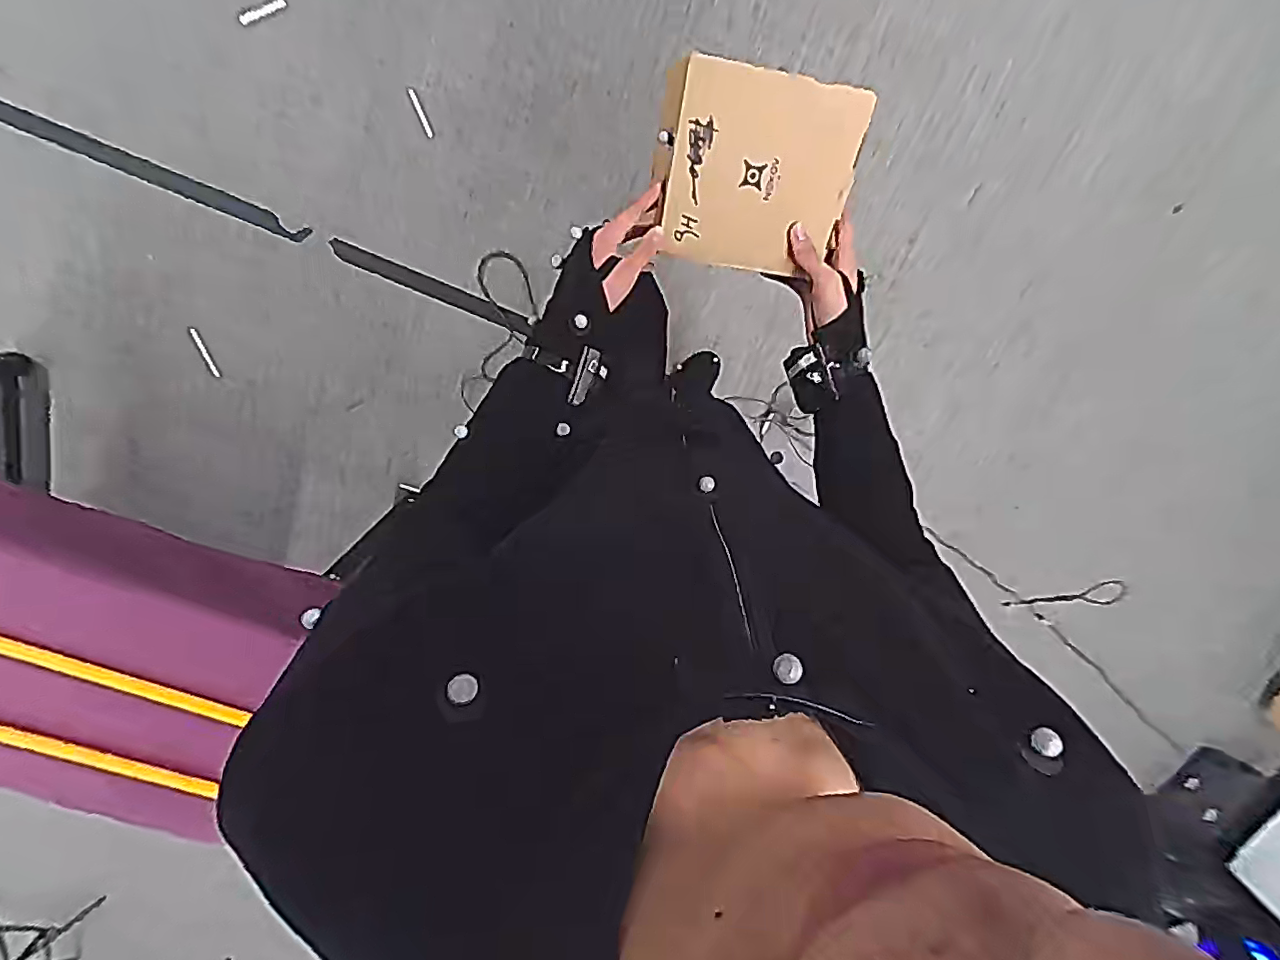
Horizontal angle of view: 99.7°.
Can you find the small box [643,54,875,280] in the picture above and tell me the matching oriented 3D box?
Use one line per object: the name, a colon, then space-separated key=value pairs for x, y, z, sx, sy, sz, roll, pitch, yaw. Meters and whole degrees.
small box: x=0.106 y=-0.328 z=0.576 sx=0.179 sy=0.176 sz=0.168 roll=5 pitch=122 yaw=-9
